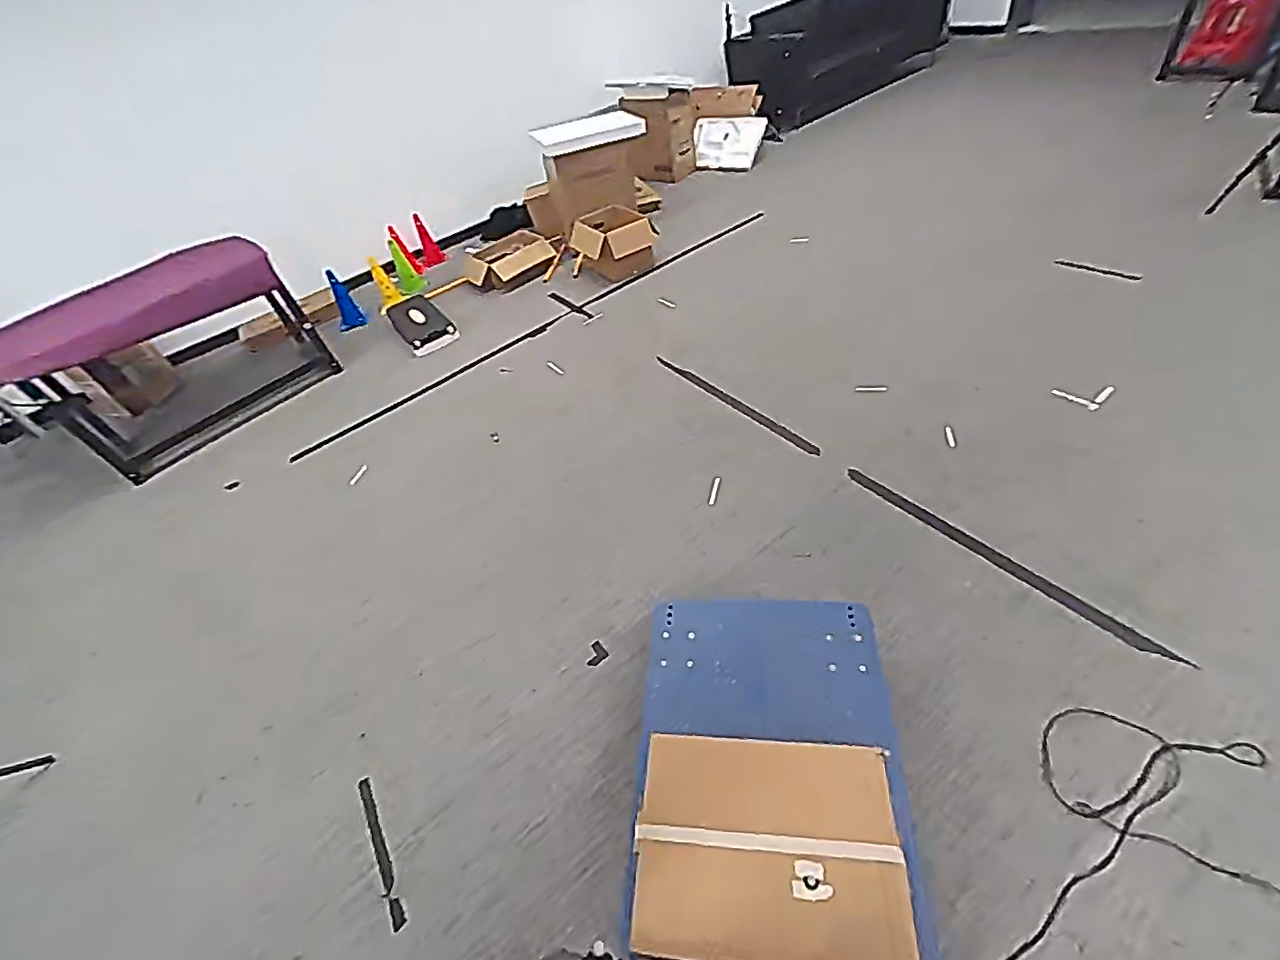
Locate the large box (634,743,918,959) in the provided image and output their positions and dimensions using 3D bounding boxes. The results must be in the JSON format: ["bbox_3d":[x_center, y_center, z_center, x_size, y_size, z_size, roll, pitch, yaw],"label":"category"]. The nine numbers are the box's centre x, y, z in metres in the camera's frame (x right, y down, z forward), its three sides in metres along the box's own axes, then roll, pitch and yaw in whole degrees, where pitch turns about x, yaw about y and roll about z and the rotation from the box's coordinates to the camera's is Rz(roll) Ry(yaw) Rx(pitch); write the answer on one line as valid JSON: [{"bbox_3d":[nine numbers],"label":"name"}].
[{"bbox_3d":[0.222,0.691,0.957,0.408,0.320,0.320,-2,47,11],"label":"large box"}]
